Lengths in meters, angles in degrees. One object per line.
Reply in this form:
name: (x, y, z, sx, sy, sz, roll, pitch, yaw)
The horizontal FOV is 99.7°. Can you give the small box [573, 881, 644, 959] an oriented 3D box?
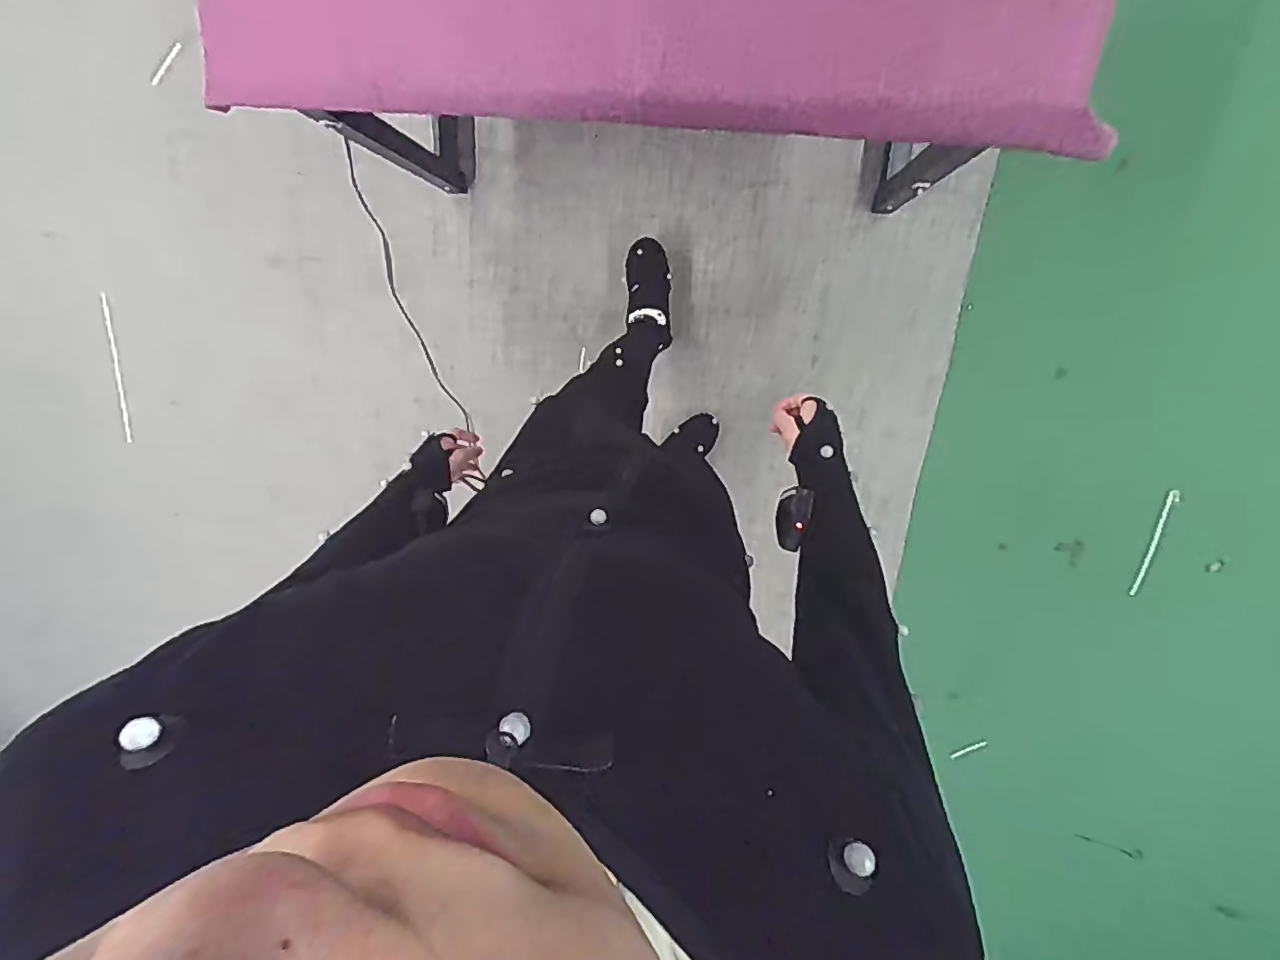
small box: (-0.086, 1.239, 1.458, 0.168, 0.176, 0.179, 9, 106, 4)
